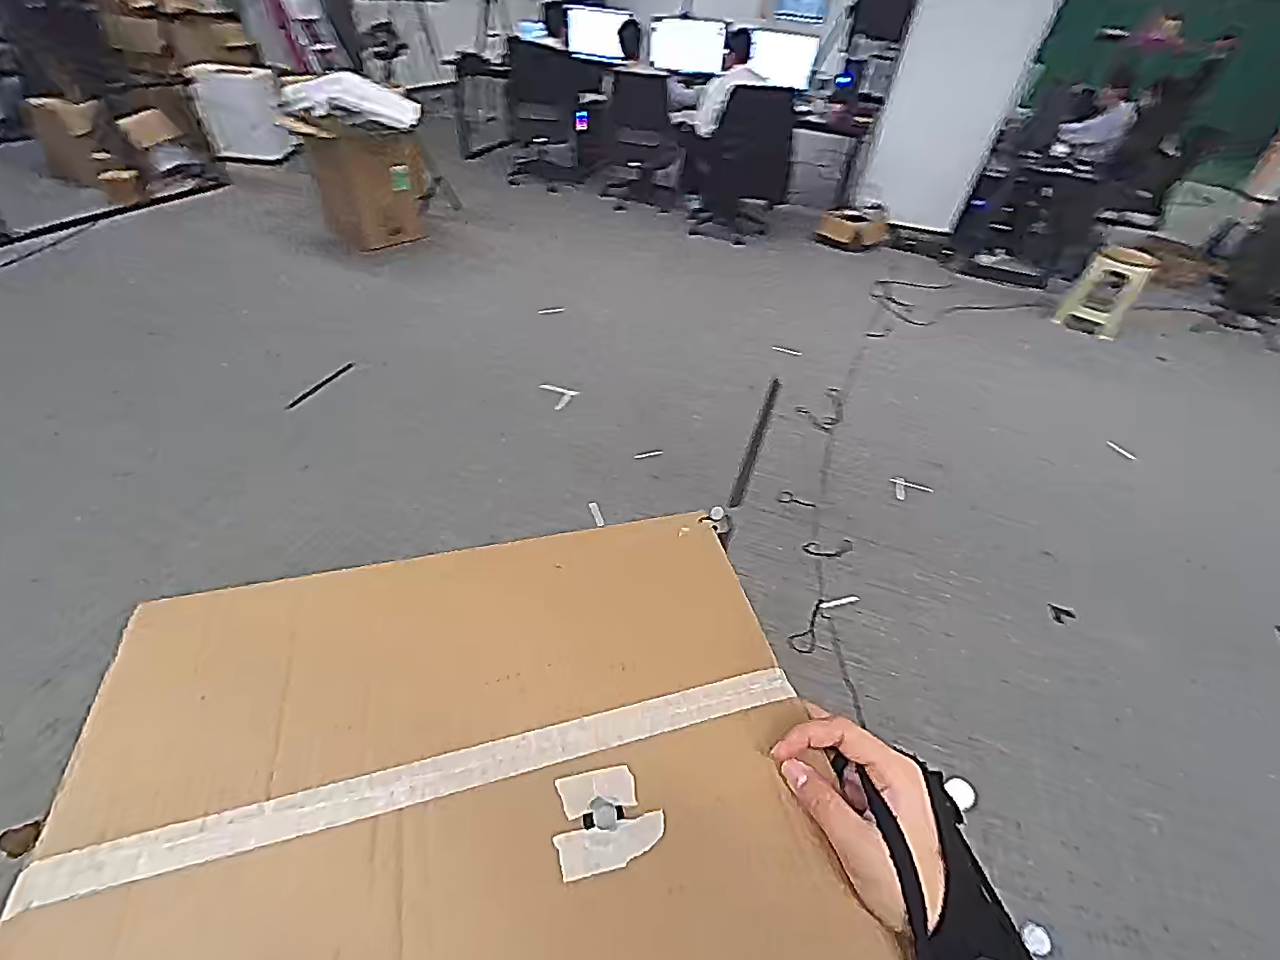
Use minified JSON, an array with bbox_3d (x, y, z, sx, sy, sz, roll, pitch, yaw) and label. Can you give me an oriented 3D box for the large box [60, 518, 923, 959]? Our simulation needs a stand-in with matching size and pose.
[{"bbox_3d":[-0.098,0.268,0.426,0.408,0.320,0.320,-7,48,-15],"label":"large box"}]
